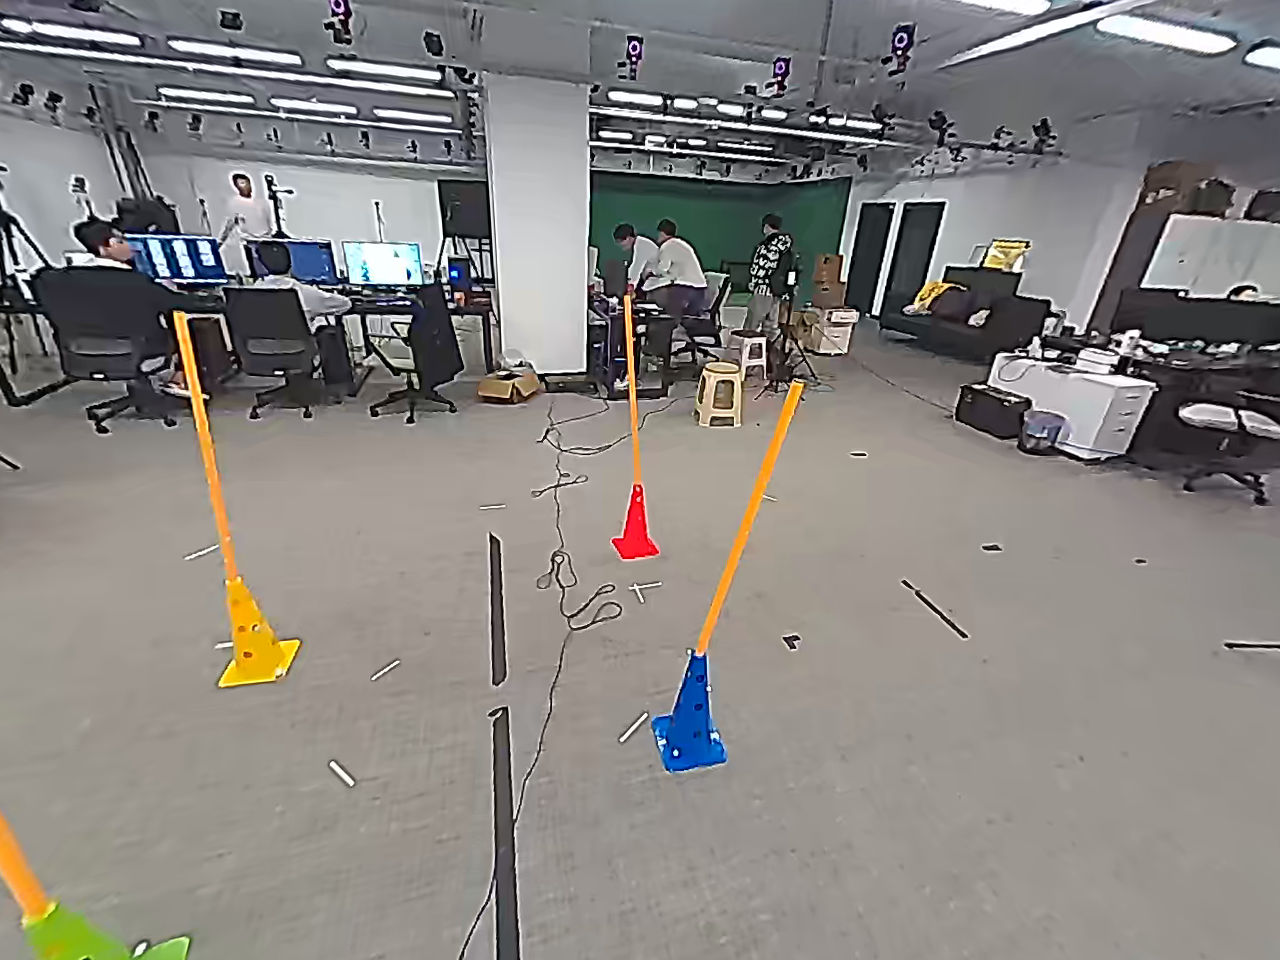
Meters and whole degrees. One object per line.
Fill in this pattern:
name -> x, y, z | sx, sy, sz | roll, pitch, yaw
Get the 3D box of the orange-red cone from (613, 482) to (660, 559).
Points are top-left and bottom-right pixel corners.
orange-red cone -> -0.013, 0.176, 2.623 | 0.199, 0.360, 0.198 | -7, 26, -18

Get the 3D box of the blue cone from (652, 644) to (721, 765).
blue cone -> 0.155, 0.661, 1.638 | 0.193, 0.380, 0.192 | -2, 25, -12

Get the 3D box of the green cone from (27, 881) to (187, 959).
green cone -> -1.033, 0.881, 1.002 | 0.200, 0.368, 0.202 | -9, 26, -24
